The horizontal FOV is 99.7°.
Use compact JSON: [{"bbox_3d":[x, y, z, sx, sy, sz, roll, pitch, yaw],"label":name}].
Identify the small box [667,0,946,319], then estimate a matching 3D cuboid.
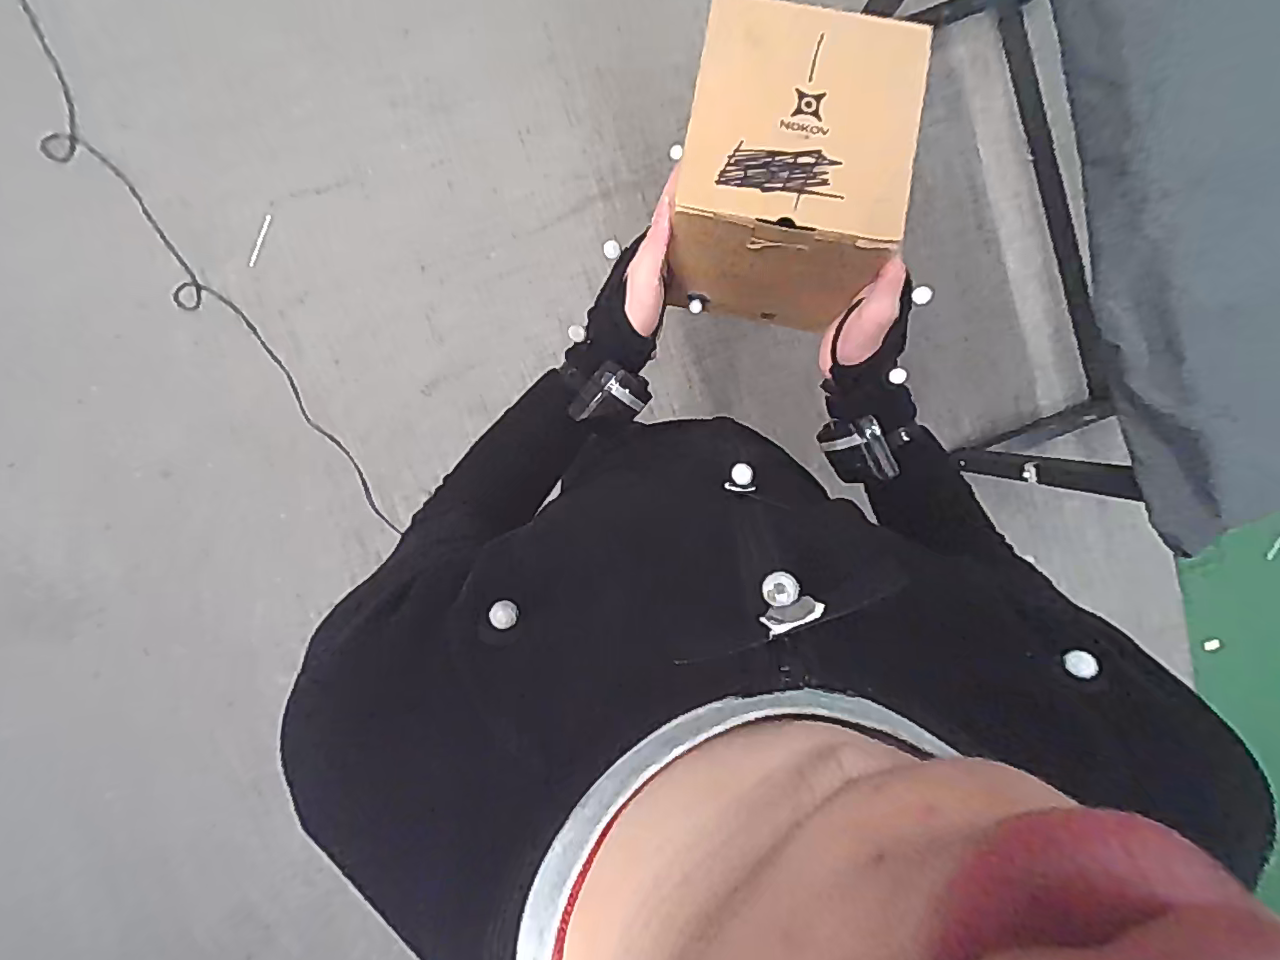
[{"bbox_3d":[0.119,-0.256,0.455,0.168,0.176,0.179,12,86,2],"label":"small box"}]
